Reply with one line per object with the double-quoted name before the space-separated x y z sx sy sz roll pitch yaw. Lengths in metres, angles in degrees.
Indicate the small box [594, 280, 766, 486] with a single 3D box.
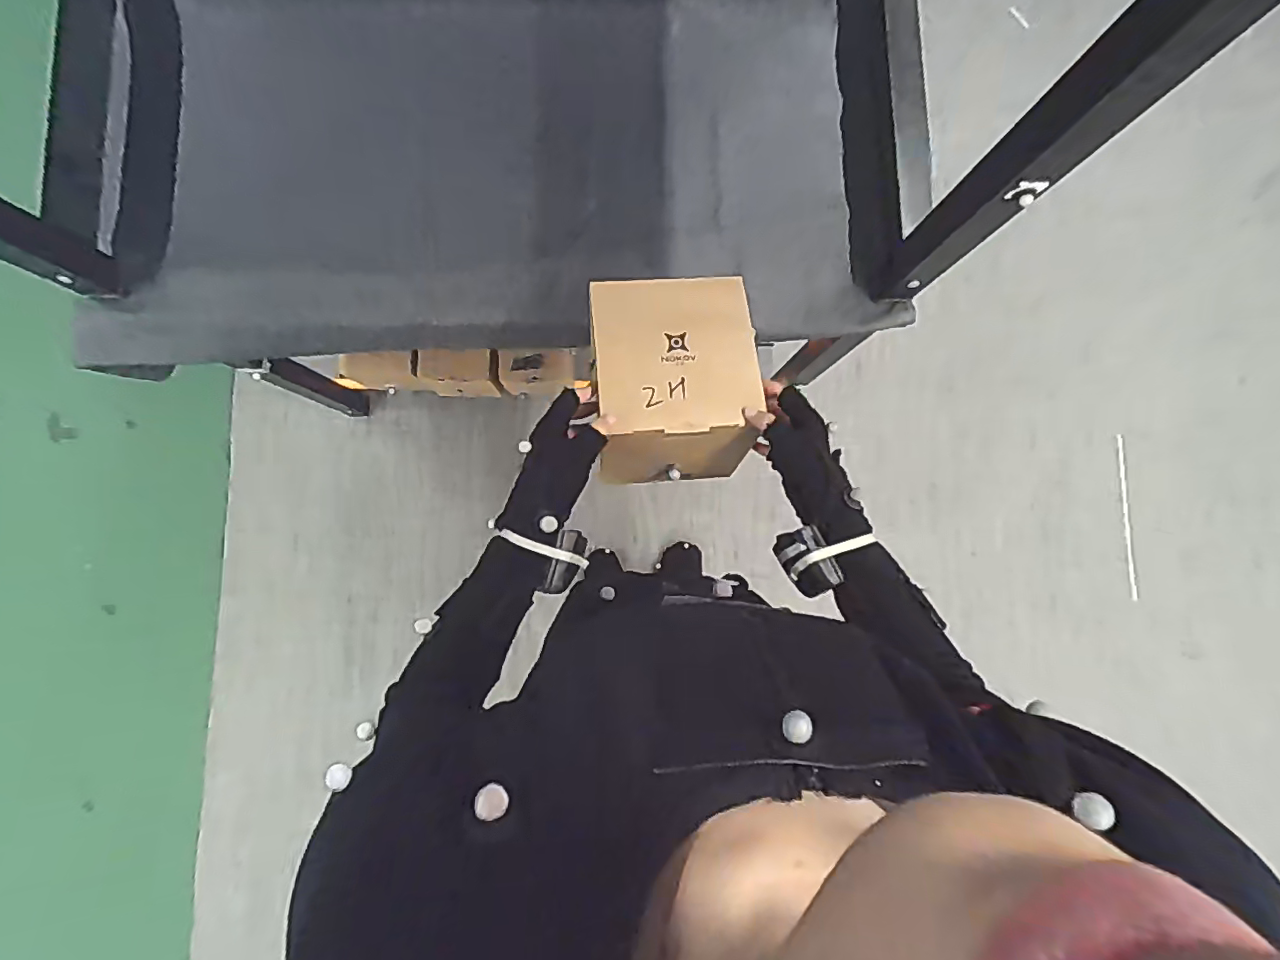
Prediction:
"small box" 0.032 -0.105 0.630 0.168 0.176 0.179 -4 71 -4
